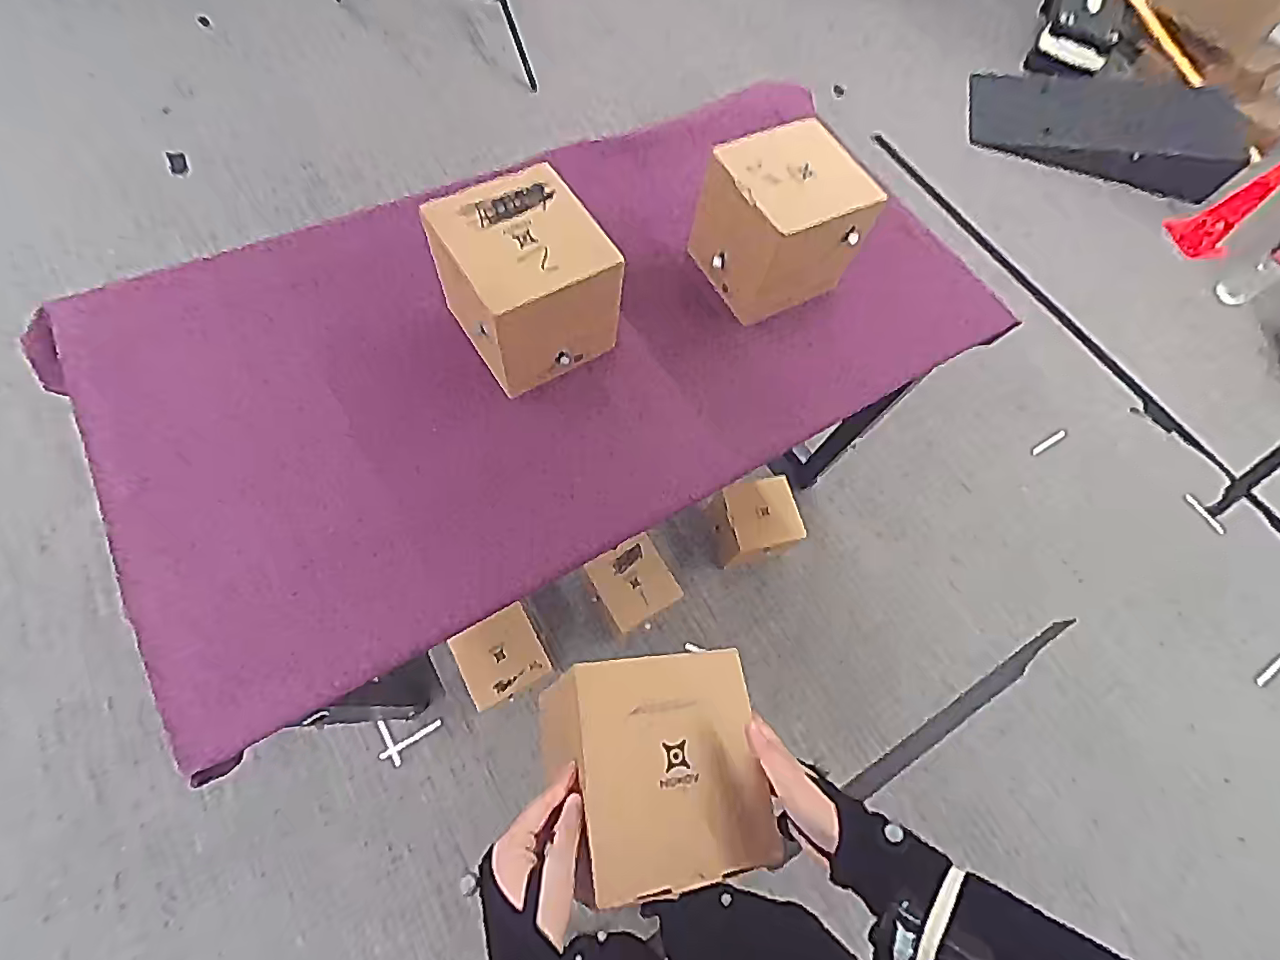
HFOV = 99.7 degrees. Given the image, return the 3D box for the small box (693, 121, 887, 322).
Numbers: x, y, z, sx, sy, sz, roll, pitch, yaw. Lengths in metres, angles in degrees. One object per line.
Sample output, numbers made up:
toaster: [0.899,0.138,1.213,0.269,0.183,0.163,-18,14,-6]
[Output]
small box: [0.197,-0.357,0.764,0.179,0.176,0.168,-26,71,-16]

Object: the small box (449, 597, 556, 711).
small box: [-0.296,0.387,1.187,0.168,0.176,0.179,-26,71,-16]

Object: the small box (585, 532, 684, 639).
small box: [-0.023,0.254,1.275,0.168,0.176,0.179,-28,74,-17]

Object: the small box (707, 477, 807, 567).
small box: [0.289,0.111,1.374,0.179,0.176,0.168,-11,69,-10]
